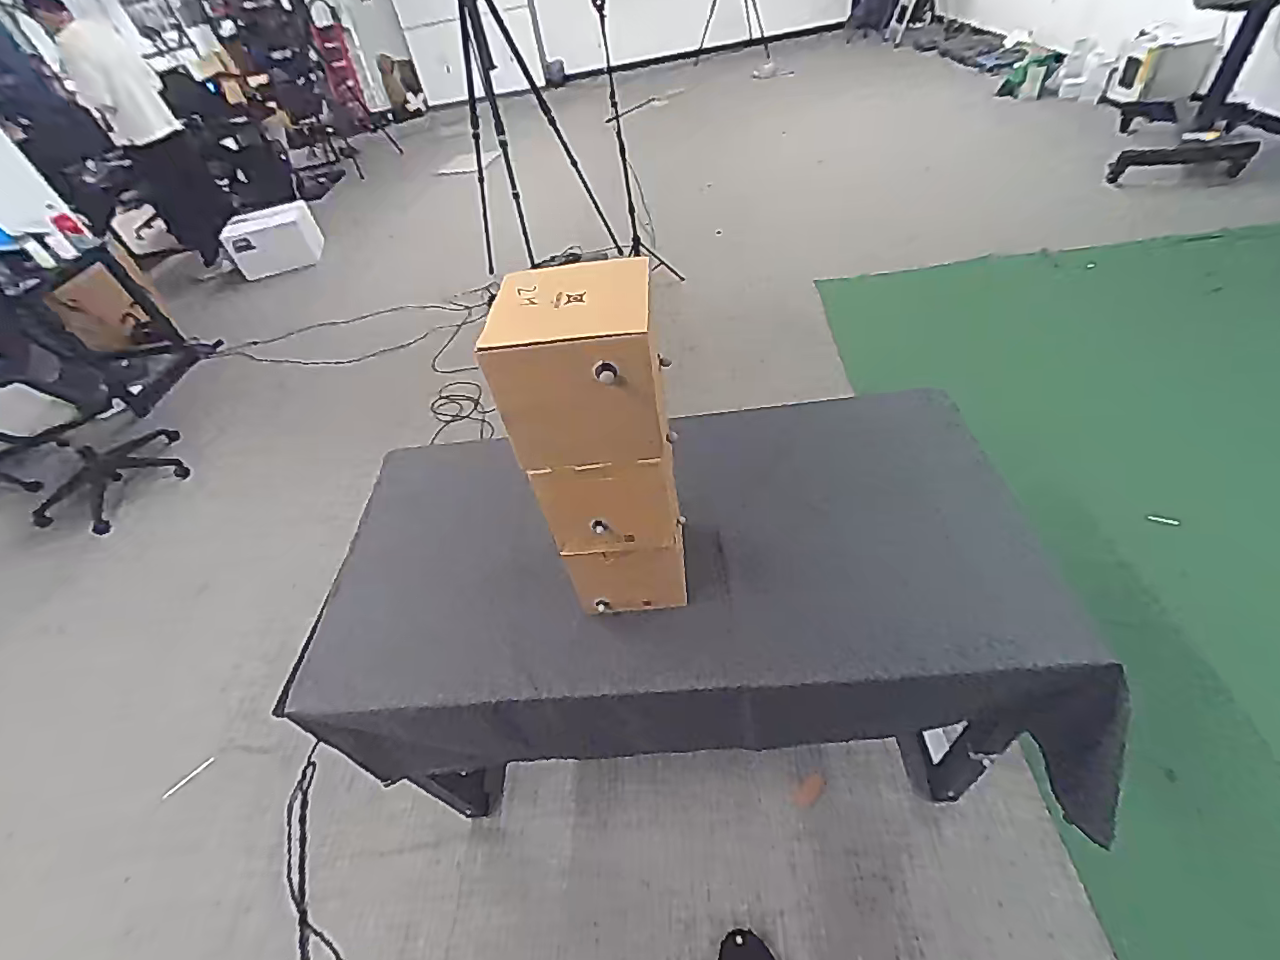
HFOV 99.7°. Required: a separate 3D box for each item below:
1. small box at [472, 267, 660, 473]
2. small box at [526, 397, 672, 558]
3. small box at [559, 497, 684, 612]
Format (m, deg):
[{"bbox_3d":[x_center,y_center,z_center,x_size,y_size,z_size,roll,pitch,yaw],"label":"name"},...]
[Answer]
[{"bbox_3d":[-0.069,-0.126,0.640,0.179,0.176,0.168,-5,45,7],"label":"small box"},{"bbox_3d":[-0.046,-0.013,0.758,0.168,0.176,0.179,-6,45,6],"label":"small box"},{"bbox_3d":[-0.022,0.100,0.873,0.168,0.176,0.179,-7,44,6],"label":"small box"}]
